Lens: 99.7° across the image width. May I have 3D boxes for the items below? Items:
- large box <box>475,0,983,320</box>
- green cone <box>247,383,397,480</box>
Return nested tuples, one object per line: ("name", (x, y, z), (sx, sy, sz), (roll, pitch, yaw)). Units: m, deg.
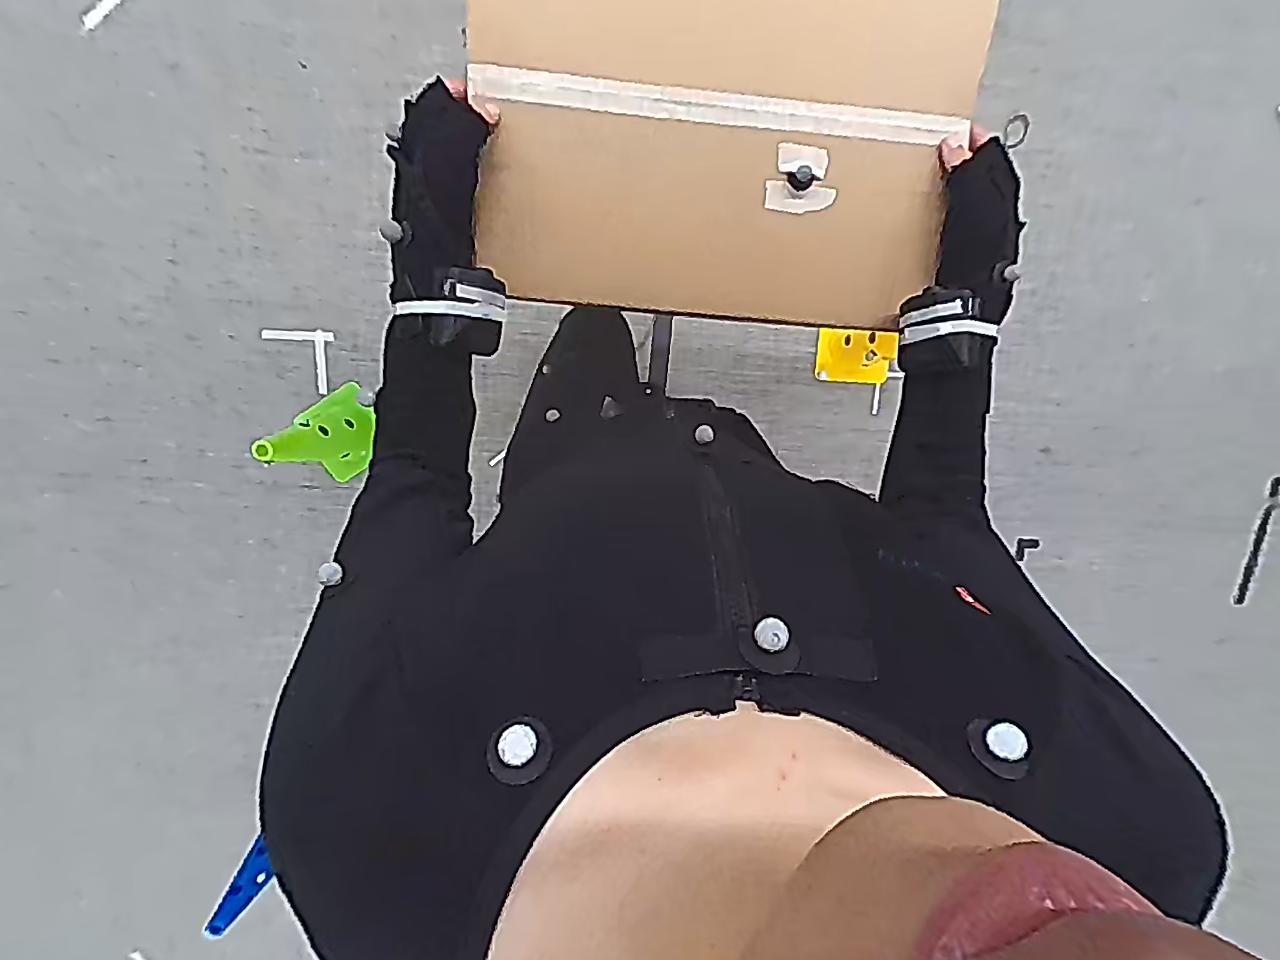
("large box", (0.057, -0.345, 0.582), (0.408, 0.320, 0.320), (3, 107, -5))
("green cone", (-0.753, -0.092, 1.232), (0.202, 0.368, 0.200), (-33, 100, 4))
